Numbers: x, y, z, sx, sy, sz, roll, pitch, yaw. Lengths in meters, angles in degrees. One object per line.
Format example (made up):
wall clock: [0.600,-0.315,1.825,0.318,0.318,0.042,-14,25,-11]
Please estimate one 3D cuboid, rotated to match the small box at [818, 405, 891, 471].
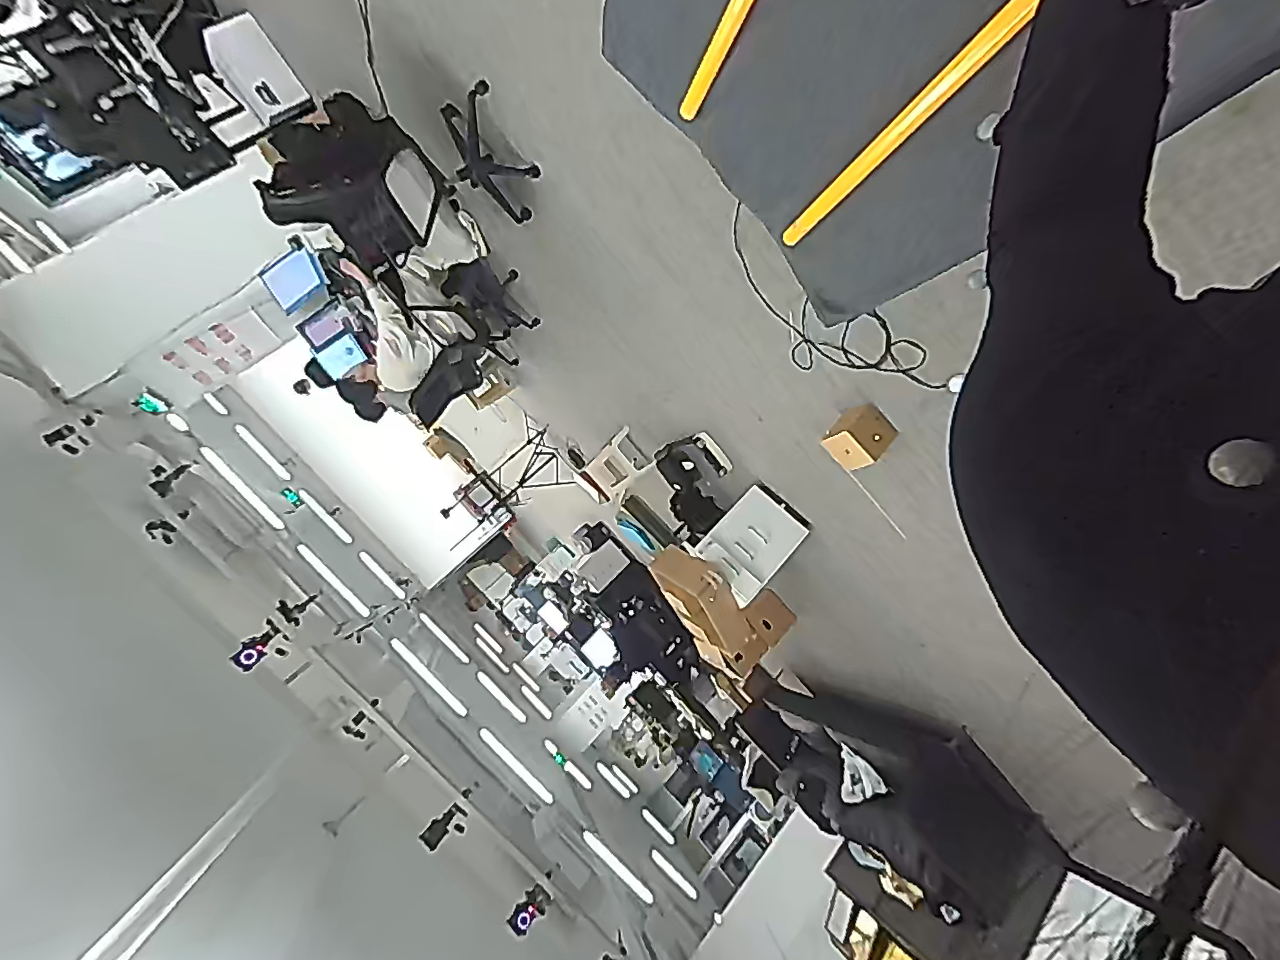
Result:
small box: [0.837,-0.163,2.091,0.168,0.176,0.179,46,162,-3]
